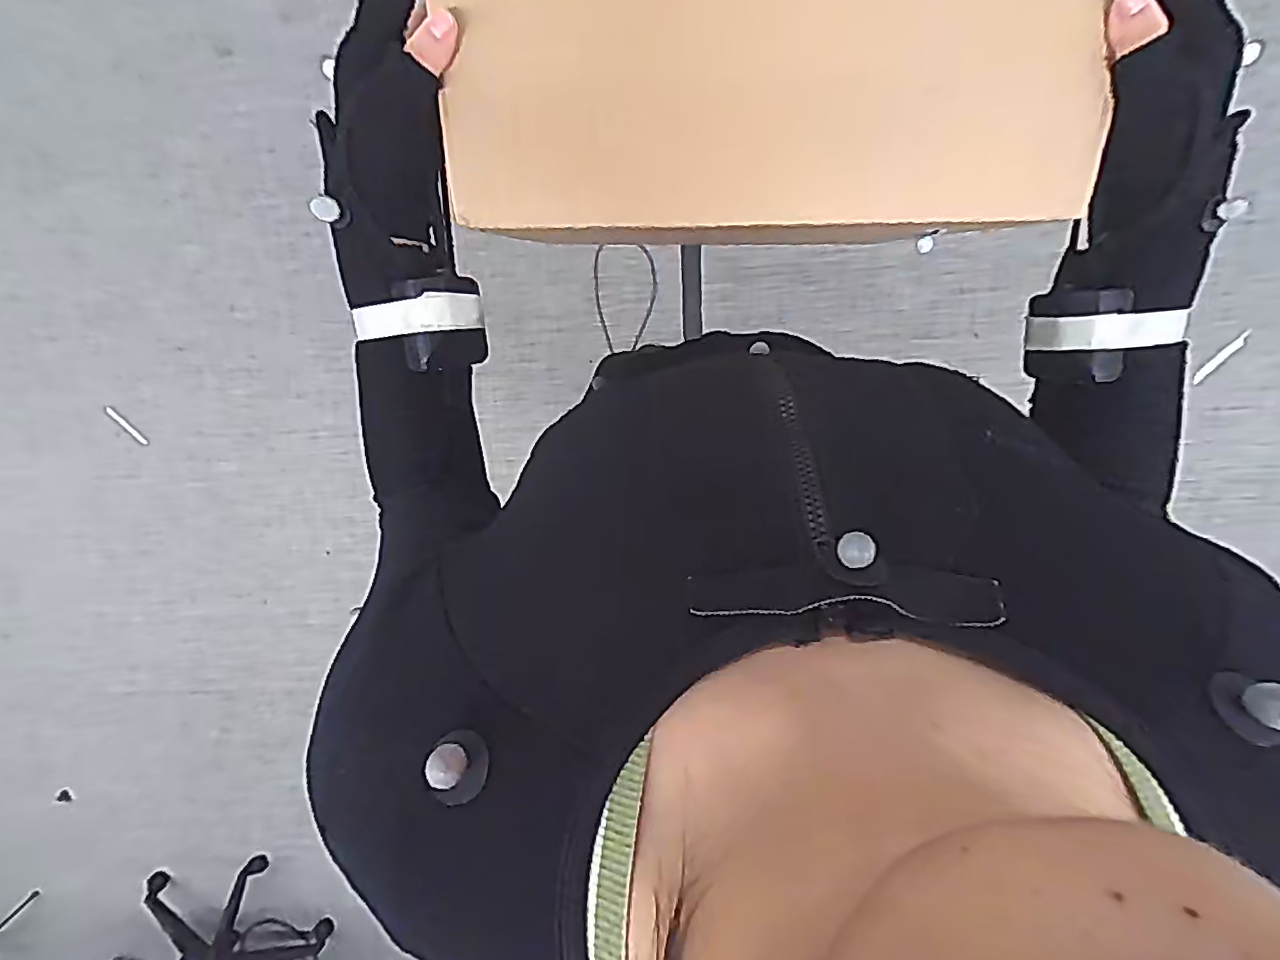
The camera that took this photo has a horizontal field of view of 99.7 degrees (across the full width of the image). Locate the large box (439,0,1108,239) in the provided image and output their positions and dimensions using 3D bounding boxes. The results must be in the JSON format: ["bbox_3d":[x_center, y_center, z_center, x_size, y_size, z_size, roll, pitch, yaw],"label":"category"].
[{"bbox_3d":[0.081,-0.373,0.443,0.408,0.320,0.320,0,112,1],"label":"large box"}]
